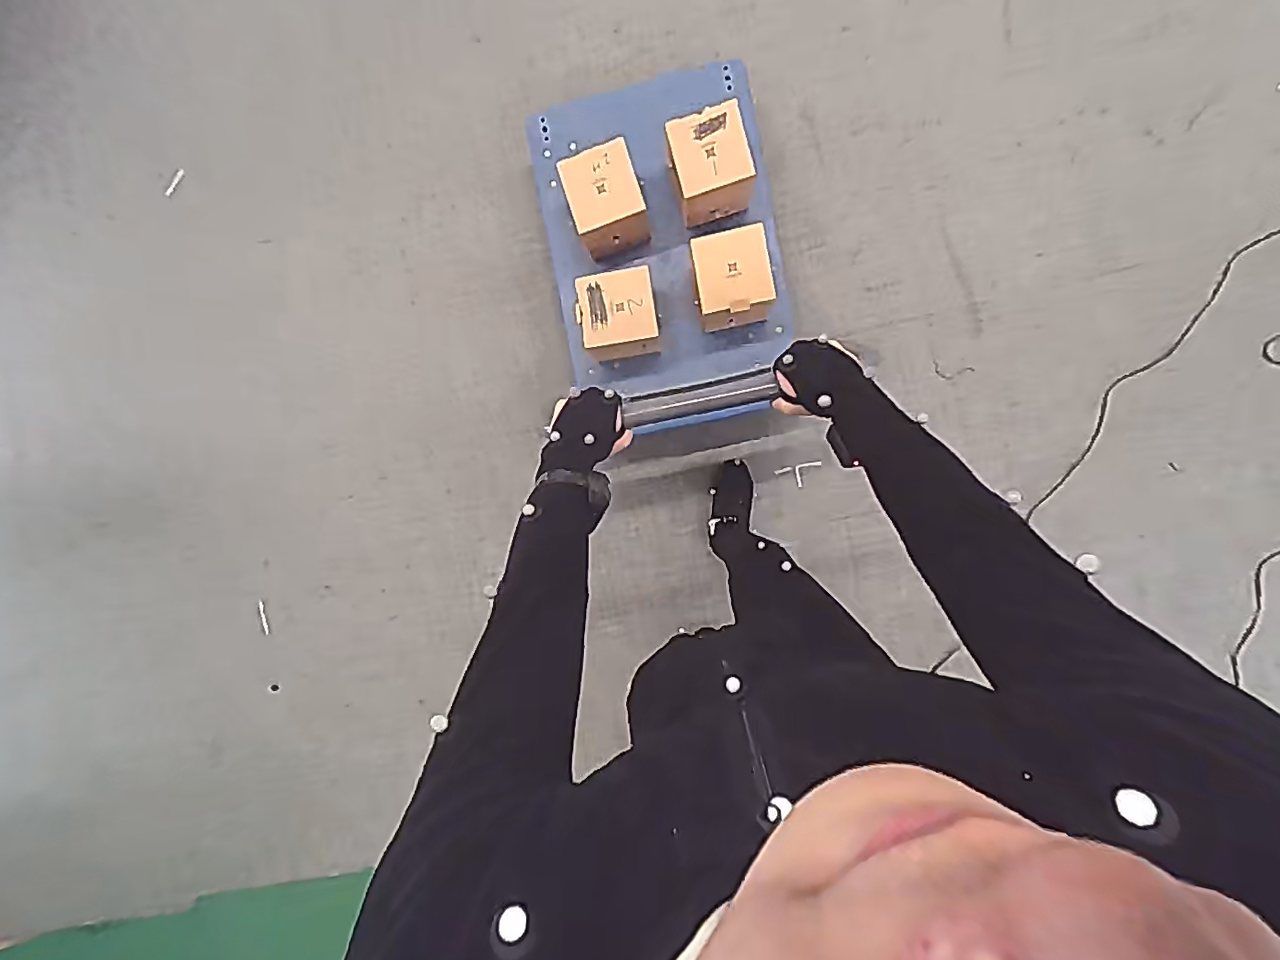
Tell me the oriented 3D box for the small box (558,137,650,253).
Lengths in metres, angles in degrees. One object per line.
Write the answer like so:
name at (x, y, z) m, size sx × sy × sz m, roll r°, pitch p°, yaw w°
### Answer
small box at (-0.079, -0.673, 1.308) m, size 0.168 × 0.176 × 0.179 m, roll -18°, pitch 90°, yaw 6°

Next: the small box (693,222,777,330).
small box at (0.219, -0.477, 1.286) m, size 0.168 × 0.176 × 0.179 m, roll -11°, pitch 92°, yaw 6°

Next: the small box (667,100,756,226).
small box at (0.166, -0.740, 1.279) m, size 0.168 × 0.176 × 0.179 m, roll -15°, pitch 91°, yaw 7°
